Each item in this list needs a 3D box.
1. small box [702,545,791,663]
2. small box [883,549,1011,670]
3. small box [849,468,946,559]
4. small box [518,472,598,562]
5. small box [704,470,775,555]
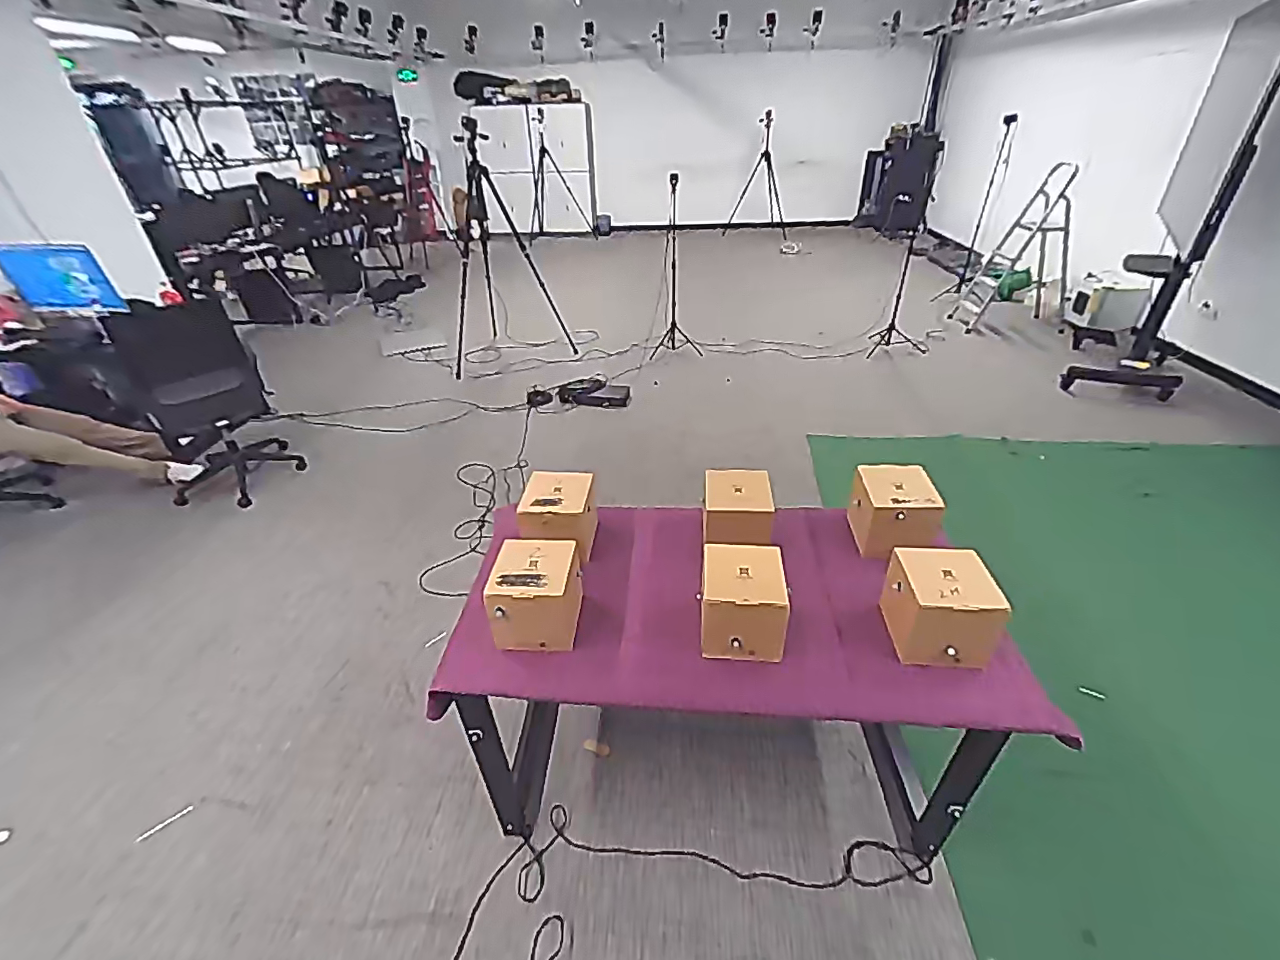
[{"bbox_3d":[0.220,0.262,1.158,0.168,0.176,0.179,2,34,6],"label":"small box"},{"bbox_3d":[0.622,0.265,1.124,0.168,0.176,0.179,1,33,7],"label":"small box"},{"bbox_3d":[0.650,0.084,1.389,0.168,0.176,0.179,0,36,6],"label":"small box"},{"bbox_3d":[-0.206,0.098,1.416,0.168,0.176,0.179,2,35,5],"label":"small box"},{"bbox_3d":[0.252,0.093,1.405,0.168,0.176,0.179,1,36,6],"label":"small box"}]
